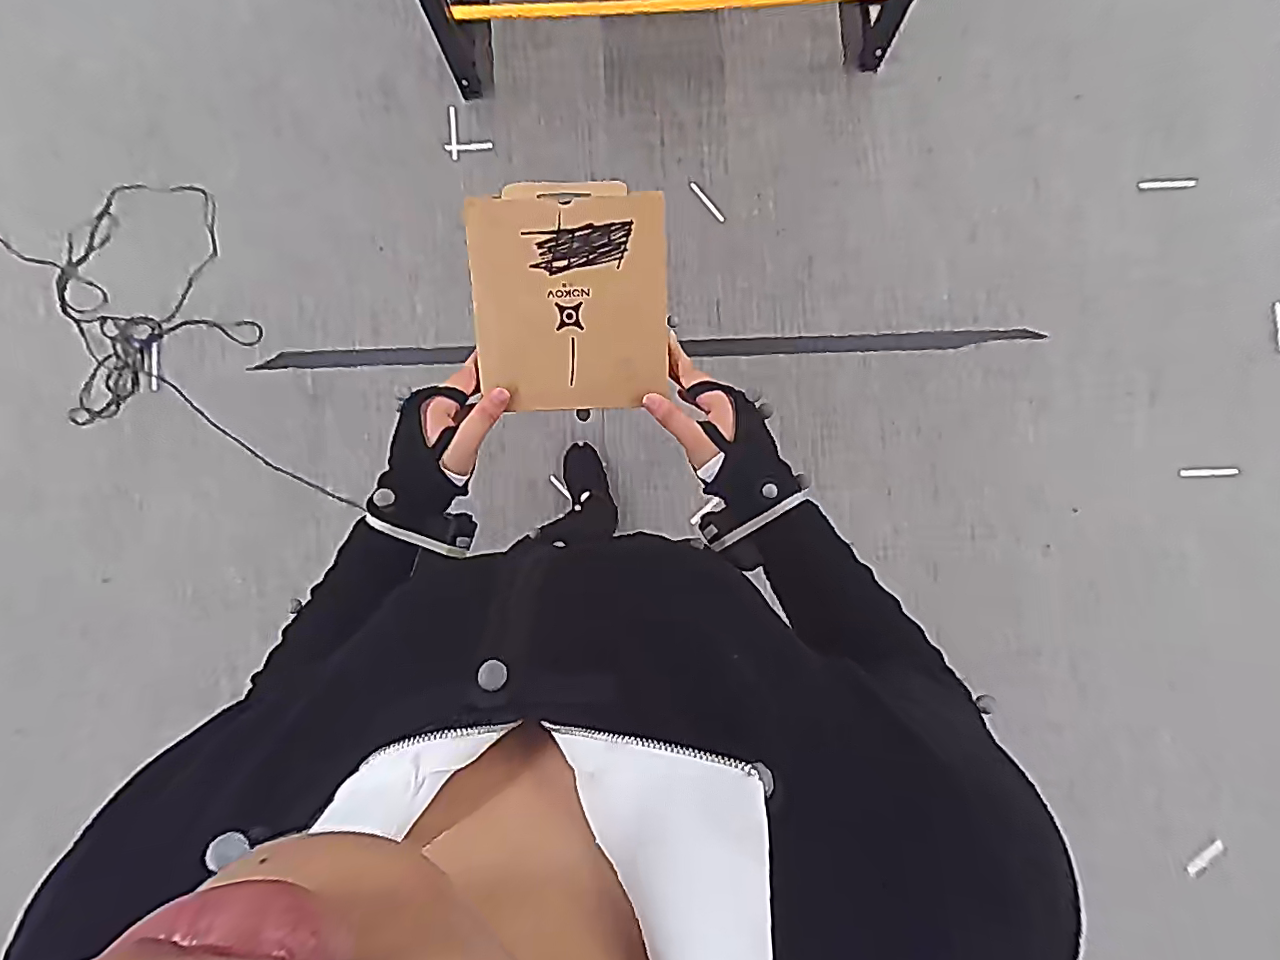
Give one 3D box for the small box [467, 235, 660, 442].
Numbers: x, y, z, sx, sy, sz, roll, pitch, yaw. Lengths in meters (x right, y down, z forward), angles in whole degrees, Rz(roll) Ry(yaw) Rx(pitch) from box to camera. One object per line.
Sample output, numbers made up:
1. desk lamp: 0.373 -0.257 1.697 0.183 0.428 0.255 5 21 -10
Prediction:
1. small box: -0.066 -0.135 0.551 0.168 0.176 0.179 -2 101 0
